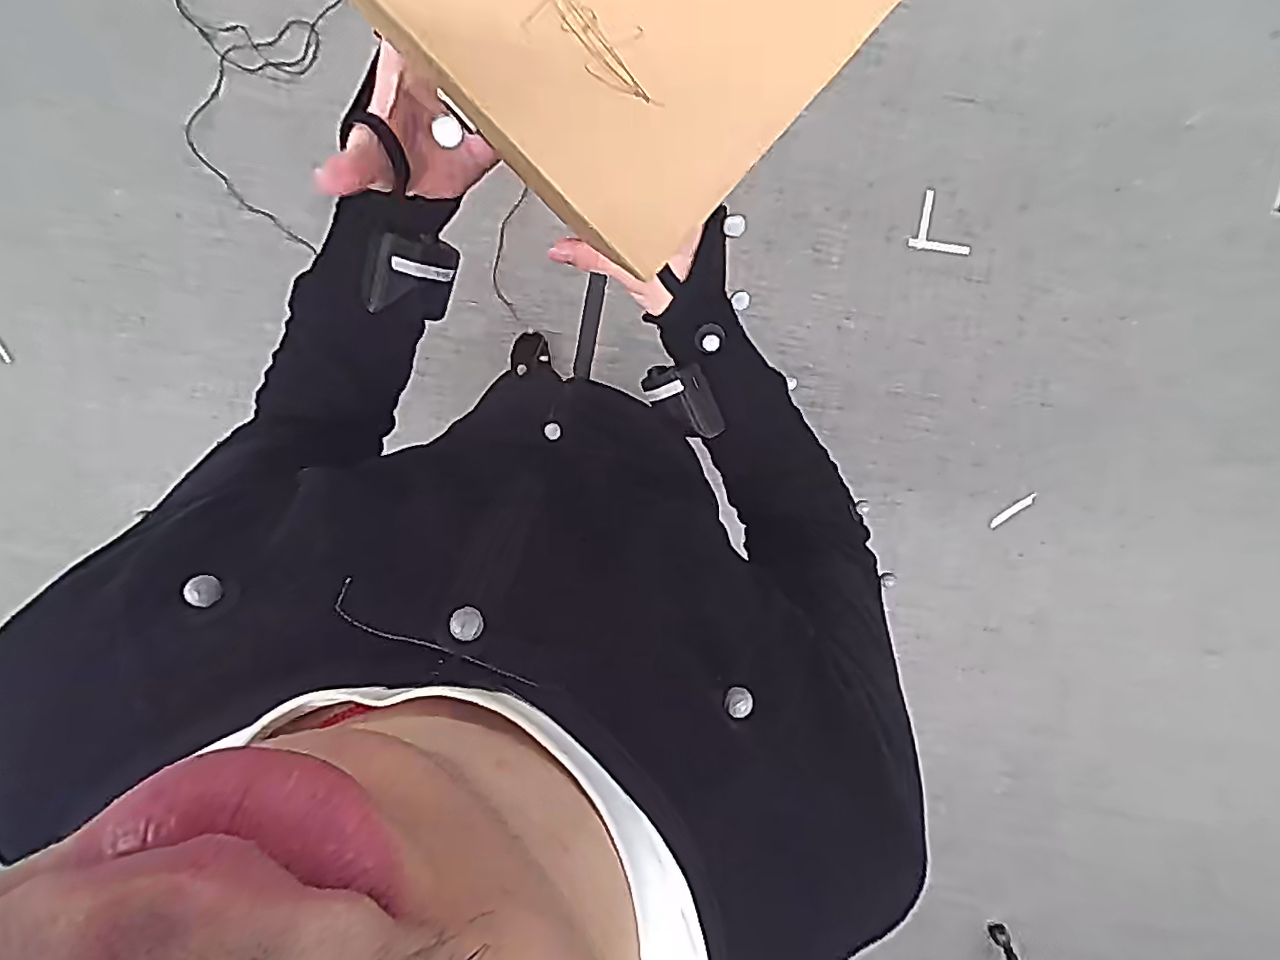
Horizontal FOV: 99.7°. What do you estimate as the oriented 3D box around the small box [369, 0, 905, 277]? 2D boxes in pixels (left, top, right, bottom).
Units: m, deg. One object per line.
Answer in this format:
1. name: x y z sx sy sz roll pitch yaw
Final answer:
1. small box: -0.013 -0.231 0.250 0.179 0.176 0.168 -46 122 12
